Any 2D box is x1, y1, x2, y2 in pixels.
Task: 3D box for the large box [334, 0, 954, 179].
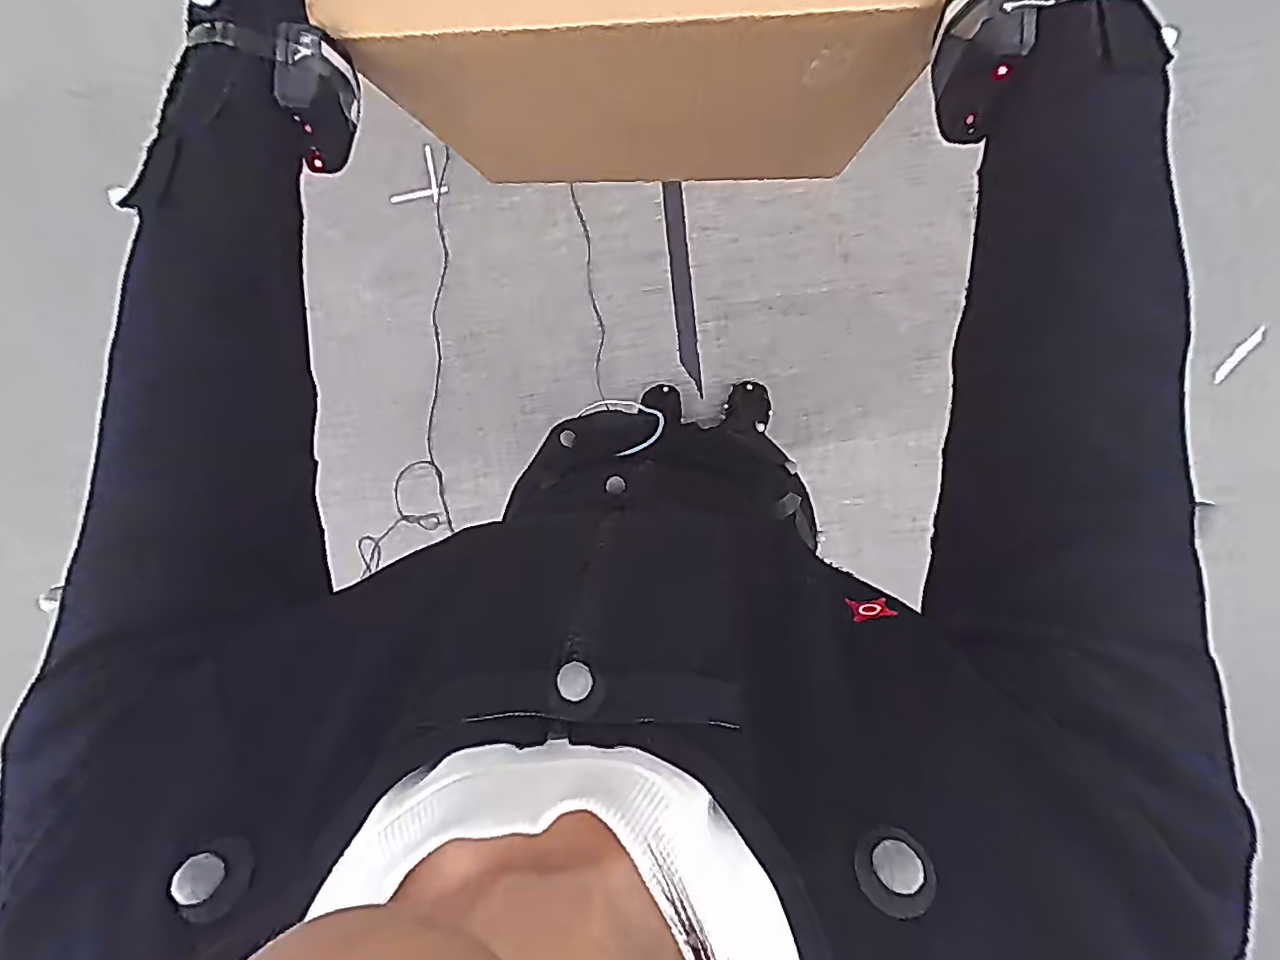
[{"bbox_3d":[0.008,-0.470,0.446,0.408,0.320,0.320,1,104,5],"label":"large box"}]
